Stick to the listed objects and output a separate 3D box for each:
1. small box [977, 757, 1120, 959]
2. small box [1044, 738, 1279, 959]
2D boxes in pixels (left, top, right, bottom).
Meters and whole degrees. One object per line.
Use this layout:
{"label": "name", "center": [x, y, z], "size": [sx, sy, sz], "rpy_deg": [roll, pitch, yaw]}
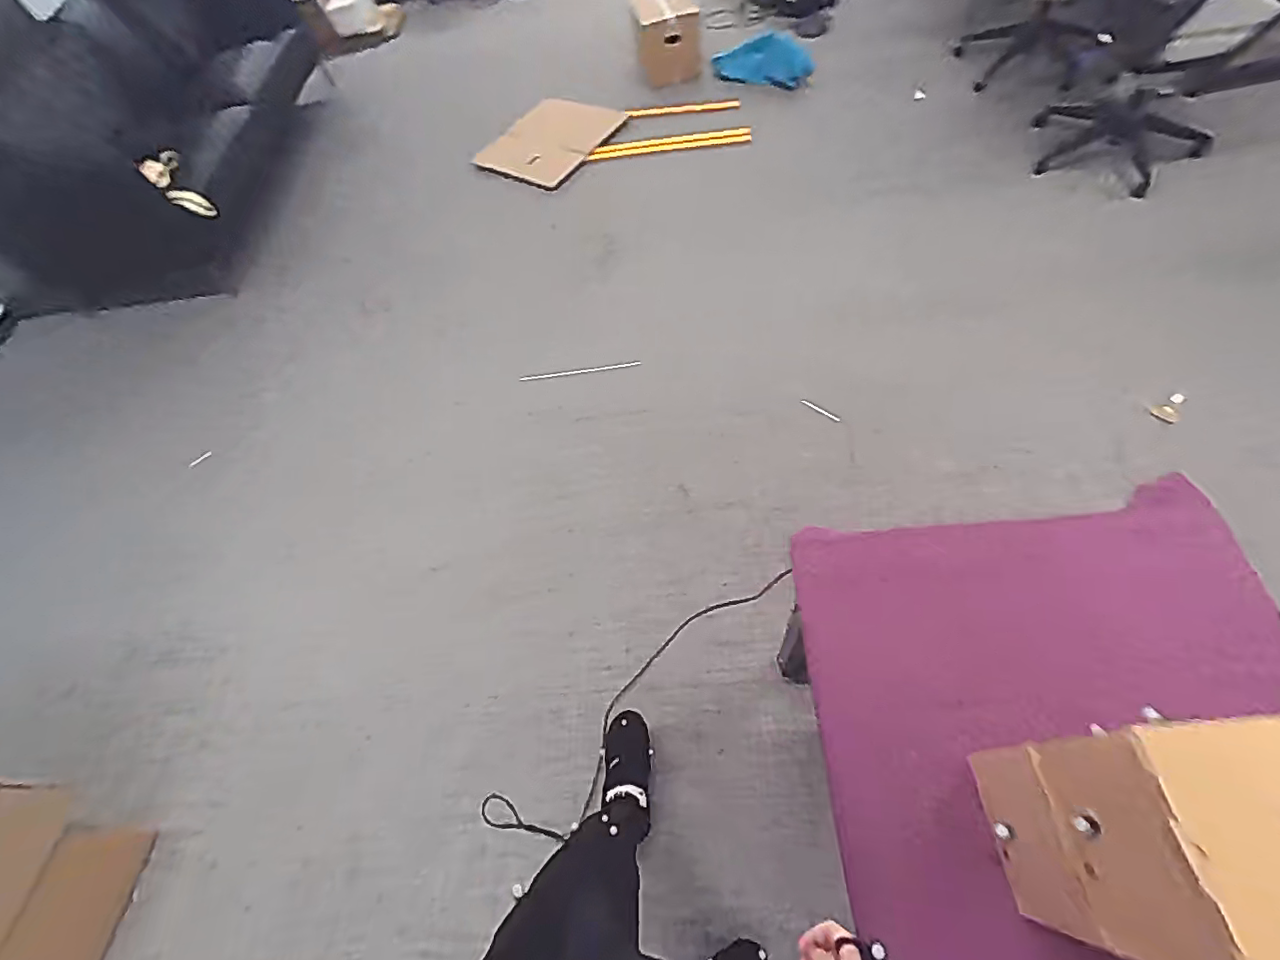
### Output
{"label": "small box", "center": [0.499, 0.382, 0.566], "size": [0.179, 0.176, 0.168], "rpy_deg": [-7, 58, 6]}
{"label": "small box", "center": [0.479, 0.299, 0.427], "size": [0.179, 0.176, 0.168], "rpy_deg": [-7, 59, 6]}
